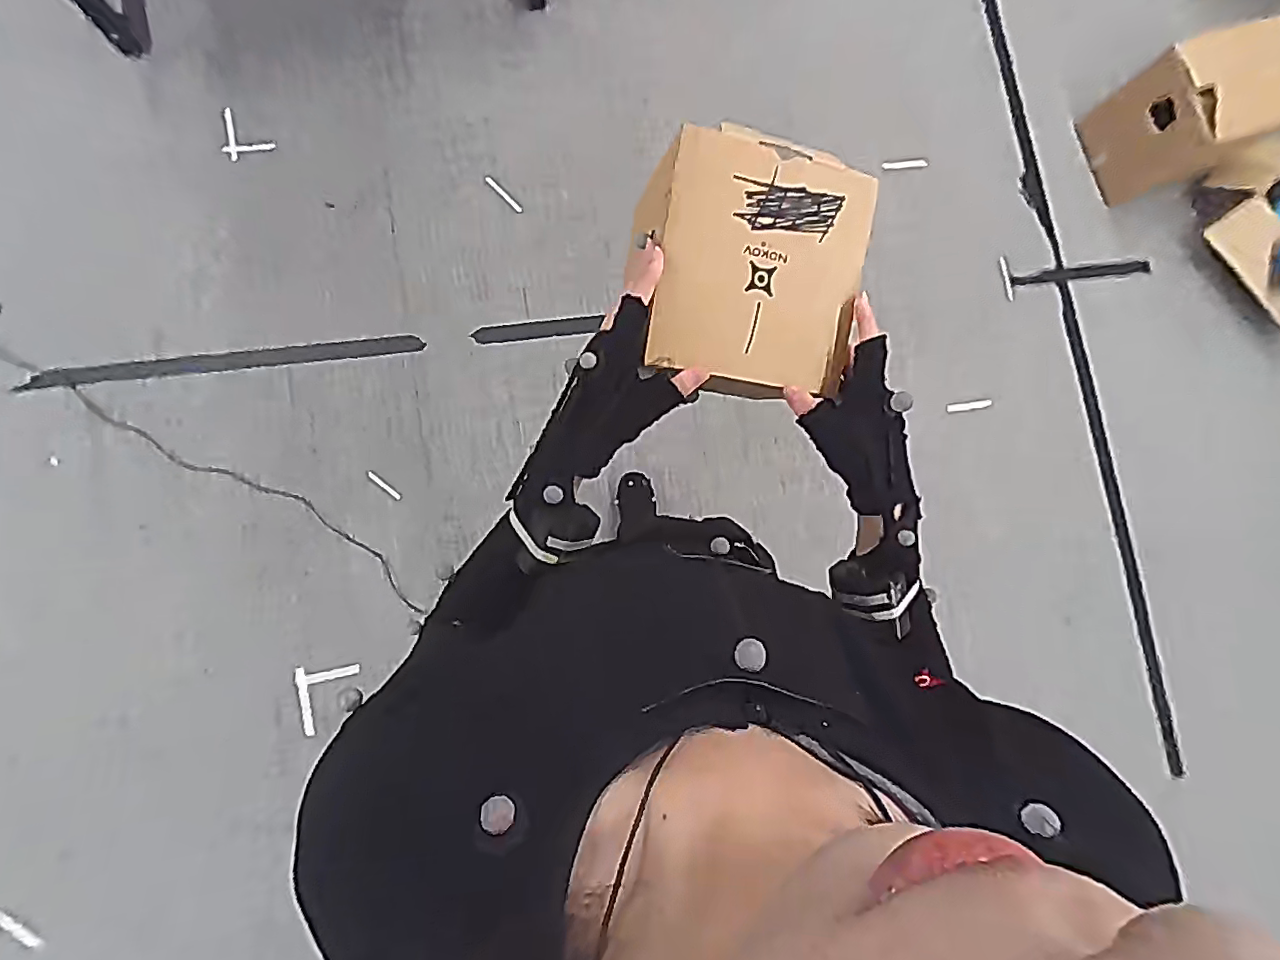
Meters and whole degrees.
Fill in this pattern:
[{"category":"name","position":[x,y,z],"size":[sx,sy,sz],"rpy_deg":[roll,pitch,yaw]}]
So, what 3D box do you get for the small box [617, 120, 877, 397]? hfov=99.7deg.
[{"category":"small box","position":[0.080,-0.176,0.493],"size":[0.168,0.176,0.179],"rpy_deg":[7,97,-12]}]
